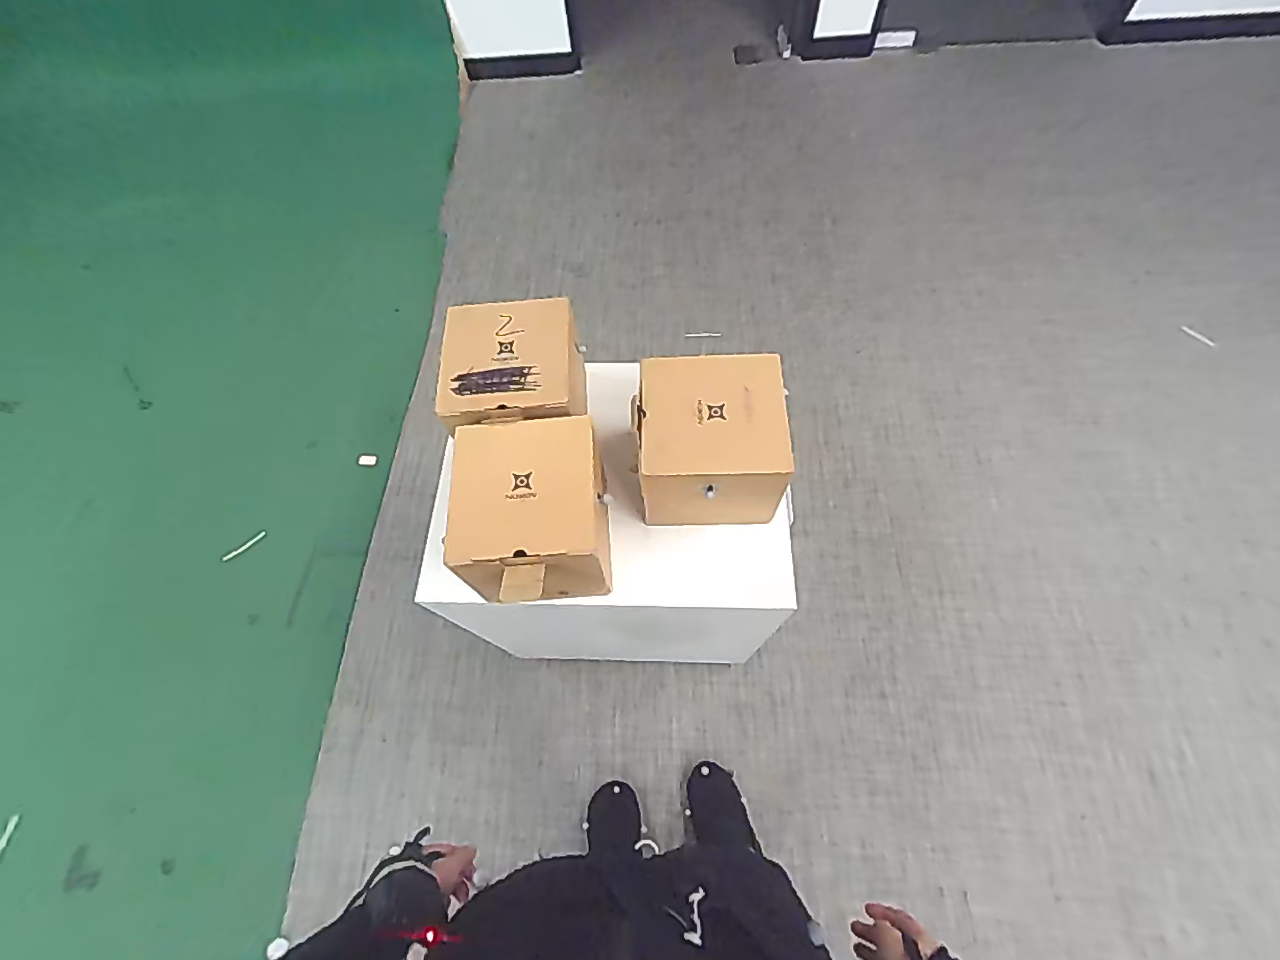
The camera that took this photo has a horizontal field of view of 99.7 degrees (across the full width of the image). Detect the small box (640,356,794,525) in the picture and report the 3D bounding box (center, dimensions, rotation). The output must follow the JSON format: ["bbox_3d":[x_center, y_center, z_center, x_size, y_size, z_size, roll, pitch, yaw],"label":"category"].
[{"bbox_3d":[0.092,-0.044,0.711,0.179,0.176,0.168,-1,66,3],"label":"small box"}]
